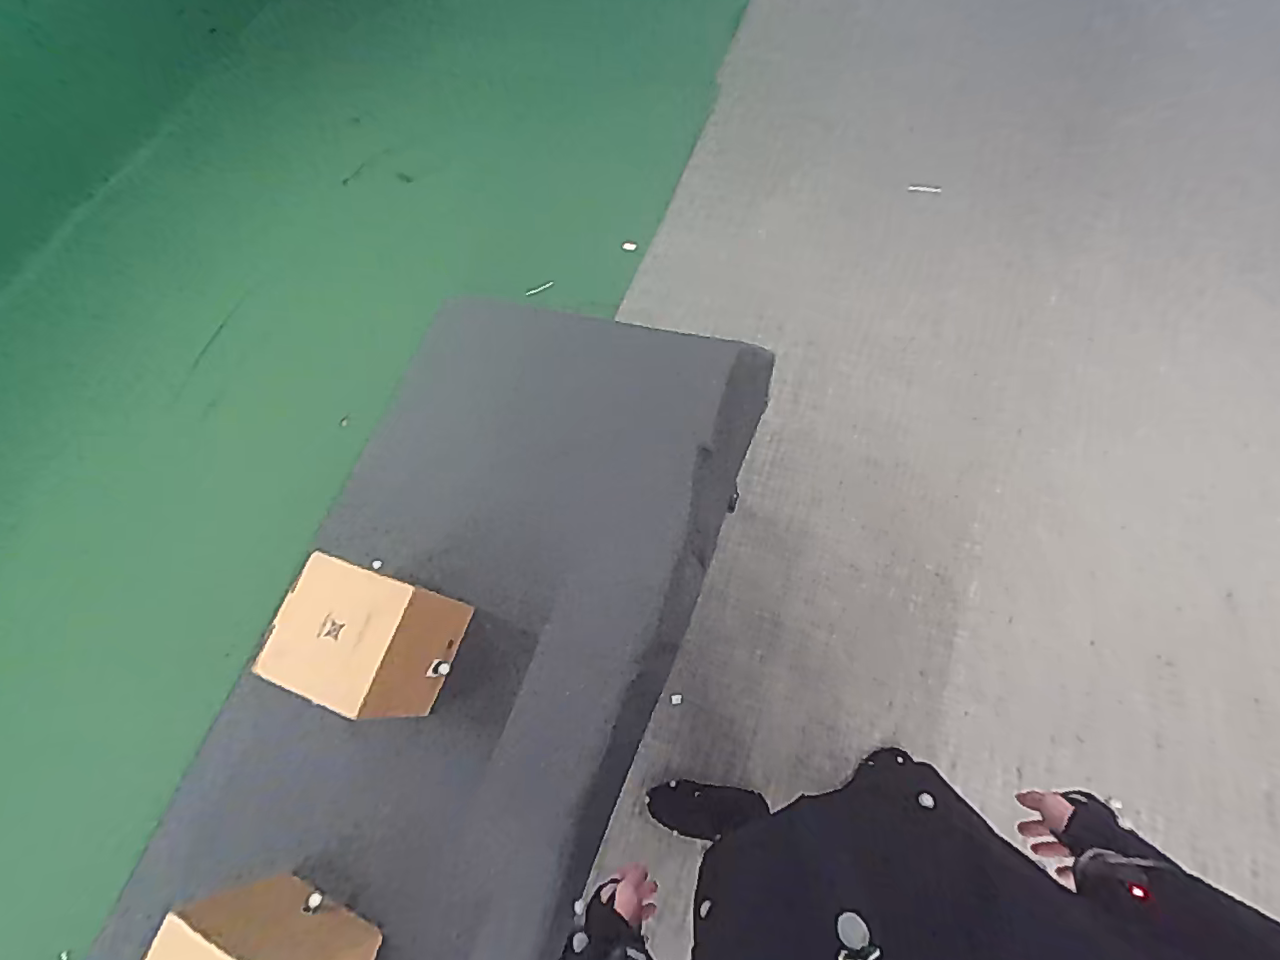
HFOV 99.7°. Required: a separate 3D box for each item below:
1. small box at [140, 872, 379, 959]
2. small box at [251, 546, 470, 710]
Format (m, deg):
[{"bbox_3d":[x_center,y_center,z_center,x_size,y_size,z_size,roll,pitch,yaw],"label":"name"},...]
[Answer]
[{"bbox_3d":[-0.449,0.586,0.618,0.179,0.176,0.168,14,72,18],"label":"small box"},{"bbox_3d":[-0.376,0.210,0.758,0.179,0.176,0.168,14,73,15],"label":"small box"}]
